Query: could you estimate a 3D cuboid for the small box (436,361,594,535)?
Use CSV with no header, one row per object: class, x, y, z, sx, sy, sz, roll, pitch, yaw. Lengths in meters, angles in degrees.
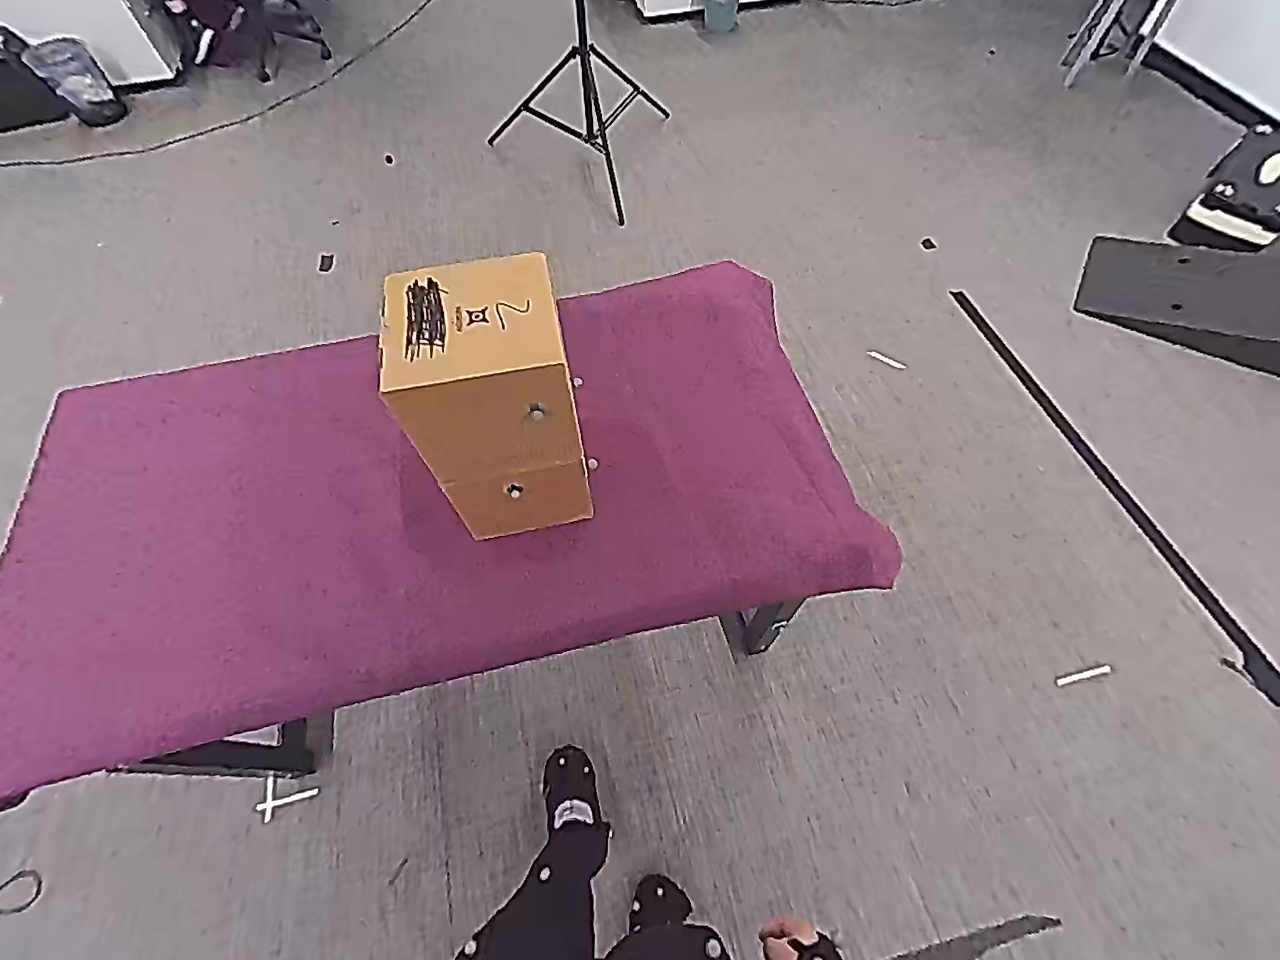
small box,-0.169,-0.038,0.756,0.179,0.176,0.168,-11,61,-6
